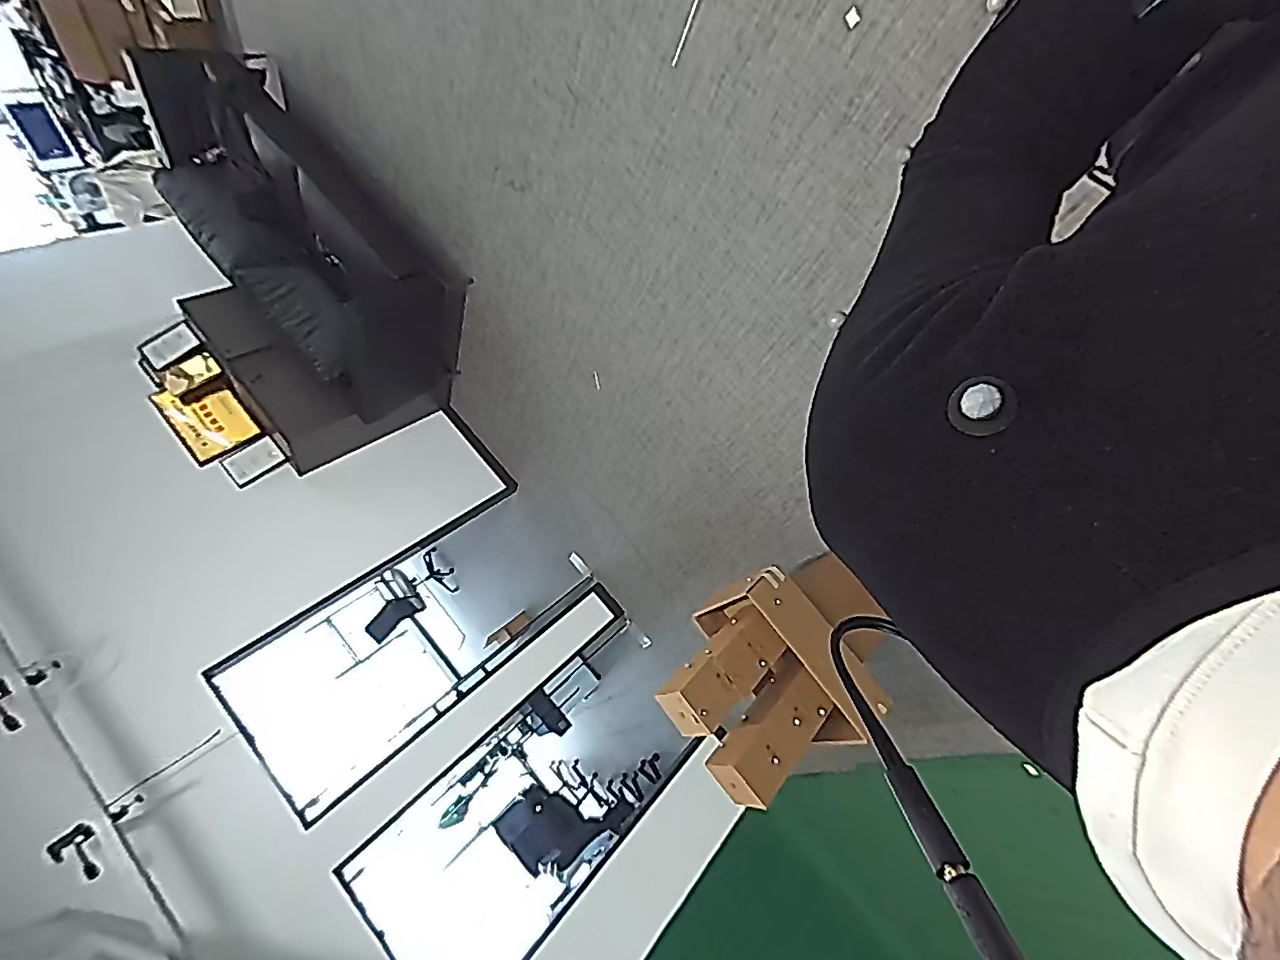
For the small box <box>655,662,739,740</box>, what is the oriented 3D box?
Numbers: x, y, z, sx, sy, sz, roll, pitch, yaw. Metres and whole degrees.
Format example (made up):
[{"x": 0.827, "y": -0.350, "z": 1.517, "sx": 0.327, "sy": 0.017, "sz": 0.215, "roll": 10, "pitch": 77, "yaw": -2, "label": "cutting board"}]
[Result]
[{"x": 0.187, "y": 0.714, "z": 1.754, "sx": 0.168, "sy": 0.176, "sz": 0.179, "roll": 52, "pitch": 145, "yaw": 4, "label": "small box"}]

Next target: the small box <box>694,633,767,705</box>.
[{"x": 0.306, "y": 0.644, "z": 1.842, "sx": 0.168, "sy": 0.176, "sz": 0.179, "roll": 53, "pitch": 145, "yaw": 4, "label": "small box"}]

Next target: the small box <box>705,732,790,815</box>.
[{"x": 0.349, "y": 0.935, "z": 1.741, "sx": 0.168, "sy": 0.176, "sz": 0.179, "roll": 51, "pitch": 145, "yaw": 4, "label": "small box"}]

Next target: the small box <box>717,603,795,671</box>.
[{"x": 0.418, "y": 0.568, "z": 1.936, "sx": 0.168, "sy": 0.176, "sz": 0.179, "roll": 53, "pitch": 144, "yaw": 4, "label": "small box"}]

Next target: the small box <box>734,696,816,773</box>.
[{"x": 0.459, "y": 0.860, "z": 1.834, "sx": 0.168, "sy": 0.176, "sz": 0.179, "roll": 51, "pitch": 145, "yaw": 5, "label": "small box"}]
